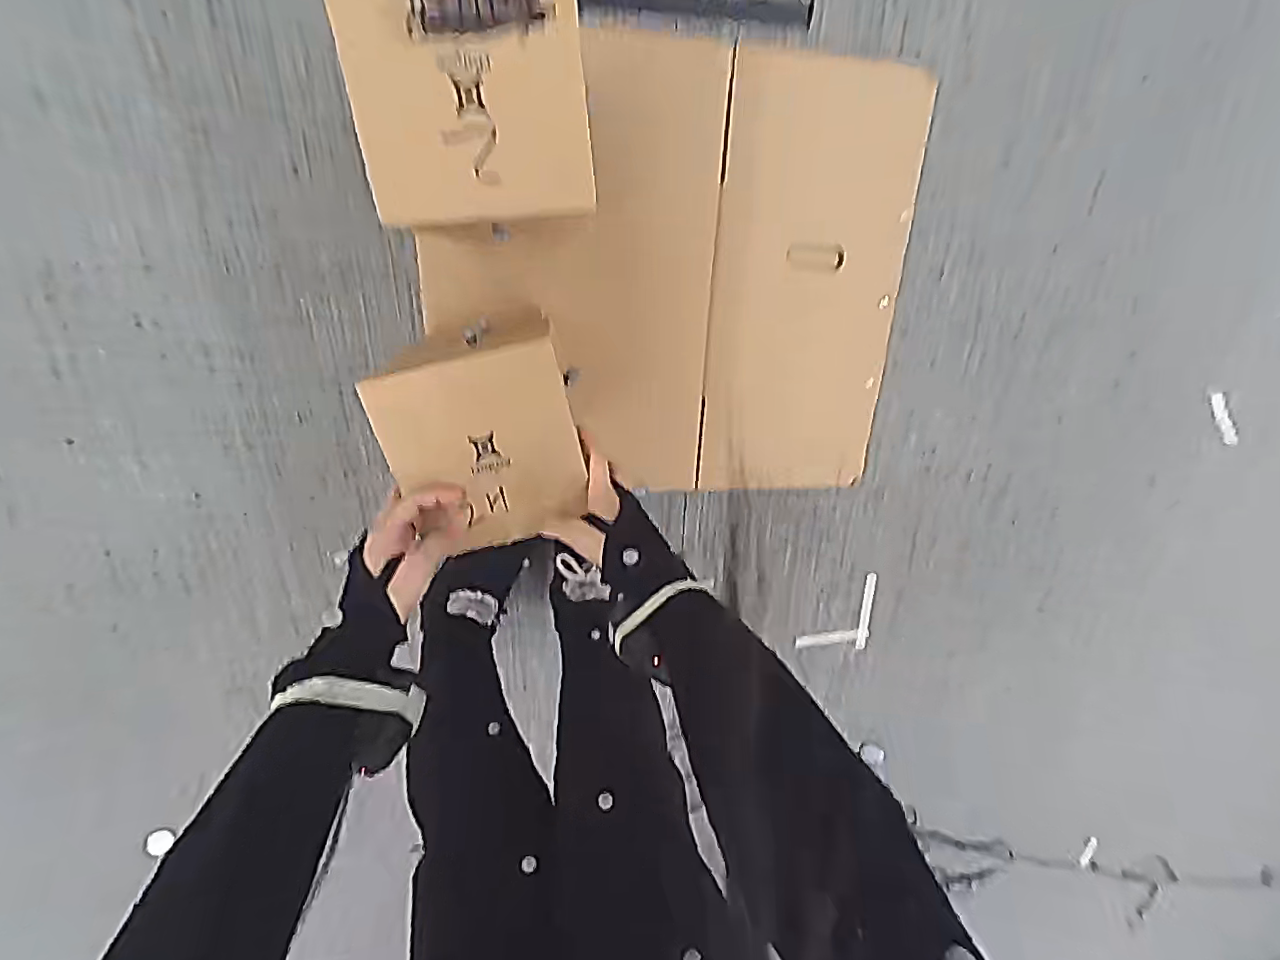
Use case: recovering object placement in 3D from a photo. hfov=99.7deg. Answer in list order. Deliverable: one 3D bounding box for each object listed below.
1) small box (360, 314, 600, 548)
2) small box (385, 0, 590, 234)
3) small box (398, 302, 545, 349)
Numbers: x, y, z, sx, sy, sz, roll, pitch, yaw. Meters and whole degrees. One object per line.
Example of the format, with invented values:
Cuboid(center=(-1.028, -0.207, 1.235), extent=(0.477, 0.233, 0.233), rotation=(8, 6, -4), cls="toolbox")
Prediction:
Cuboid(center=(-0.146, -0.063, 0.546), extent=(0.168, 0.176, 0.179), rotation=(-14, 114, -3), cls="small box")
Cuboid(center=(-0.155, -0.380, 0.597), extent=(0.168, 0.176, 0.179), rotation=(-11, 113, -6), cls="small box")
Cuboid(center=(-0.181, -0.118, 0.697), extent=(0.168, 0.176, 0.179), rotation=(-15, 115, -4), cls="small box")
